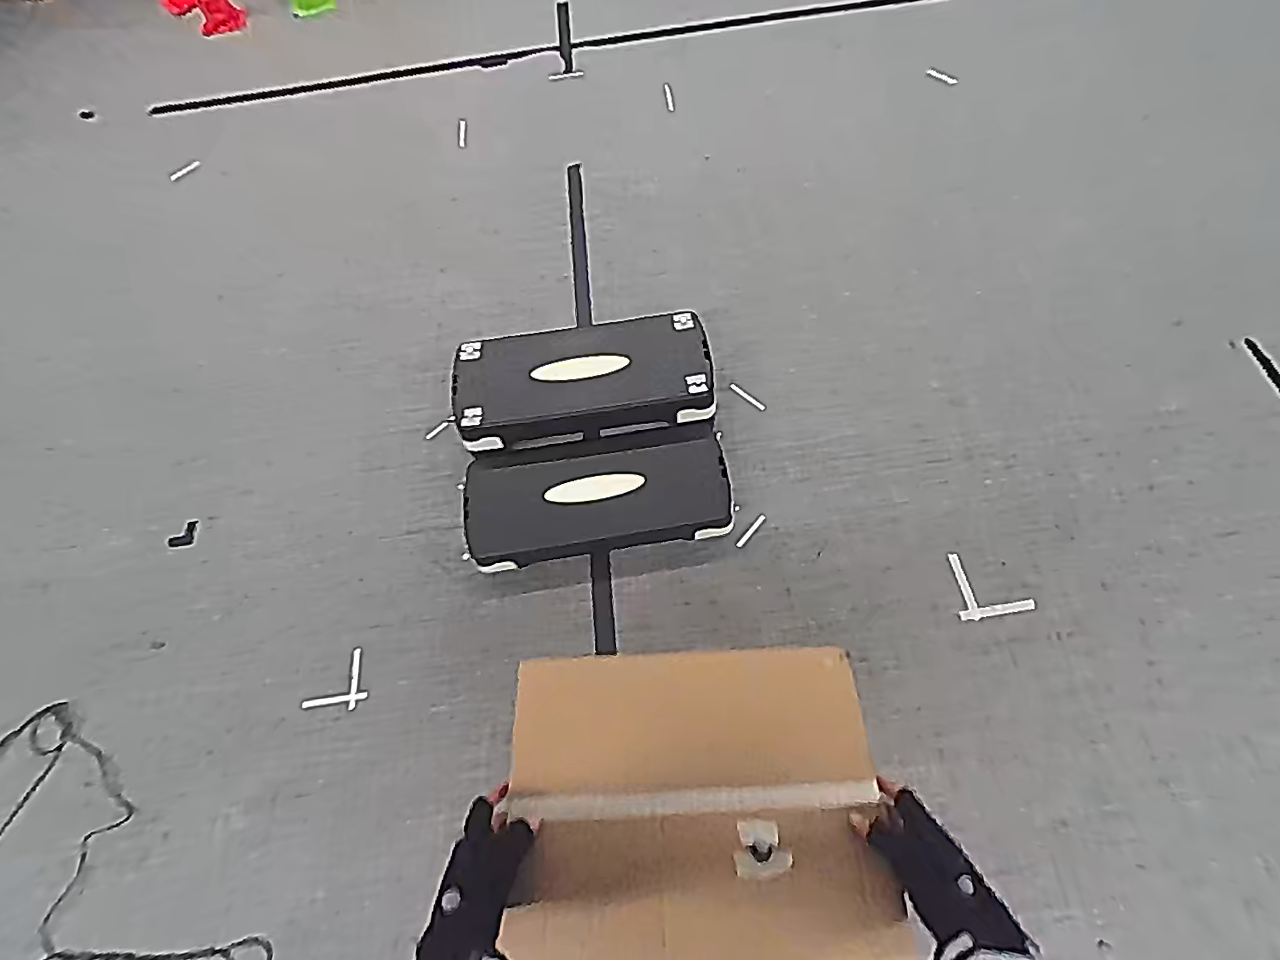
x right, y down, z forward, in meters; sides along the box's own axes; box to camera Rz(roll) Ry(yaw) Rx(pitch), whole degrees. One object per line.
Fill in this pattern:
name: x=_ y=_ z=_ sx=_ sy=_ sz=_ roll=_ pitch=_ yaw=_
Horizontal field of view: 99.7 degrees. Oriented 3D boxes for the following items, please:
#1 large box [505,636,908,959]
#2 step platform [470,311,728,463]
large box: x=0.060 y=0.416 z=0.726 sx=0.408 sy=0.320 sz=0.320 roll=-3 pitch=59 yaw=0
step platform: x=-0.108 y=-0.254 z=1.472 sx=0.684 sy=0.204 sz=0.286 roll=-8 pitch=66 yaw=0
